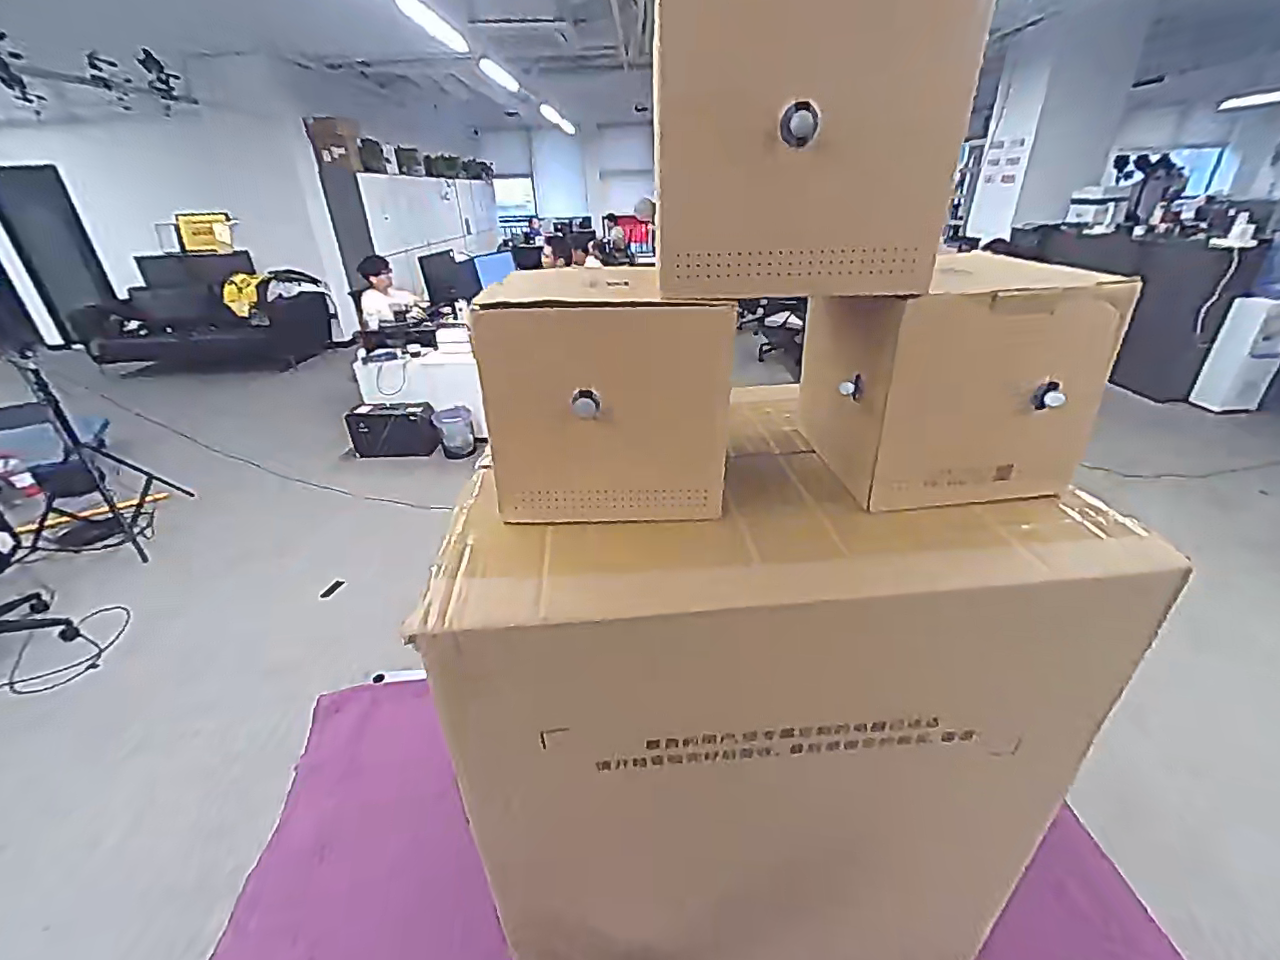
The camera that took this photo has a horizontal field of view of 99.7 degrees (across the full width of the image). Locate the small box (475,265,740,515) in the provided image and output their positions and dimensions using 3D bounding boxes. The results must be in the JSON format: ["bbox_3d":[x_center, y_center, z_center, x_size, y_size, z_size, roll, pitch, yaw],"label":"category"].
[{"bbox_3d":[-0.021,-0.080,0.453,0.179,0.176,0.168,-1,28,-2],"label":"small box"}]

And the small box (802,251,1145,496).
[{"bbox_3d":[0.251,-0.094,0.462,0.168,0.176,0.179,-4,27,-3],"label":"small box"}]

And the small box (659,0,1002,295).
[{"bbox_3d":[0.102,-0.229,0.376,0.179,0.176,0.168,-1,28,2],"label":"small box"}]
